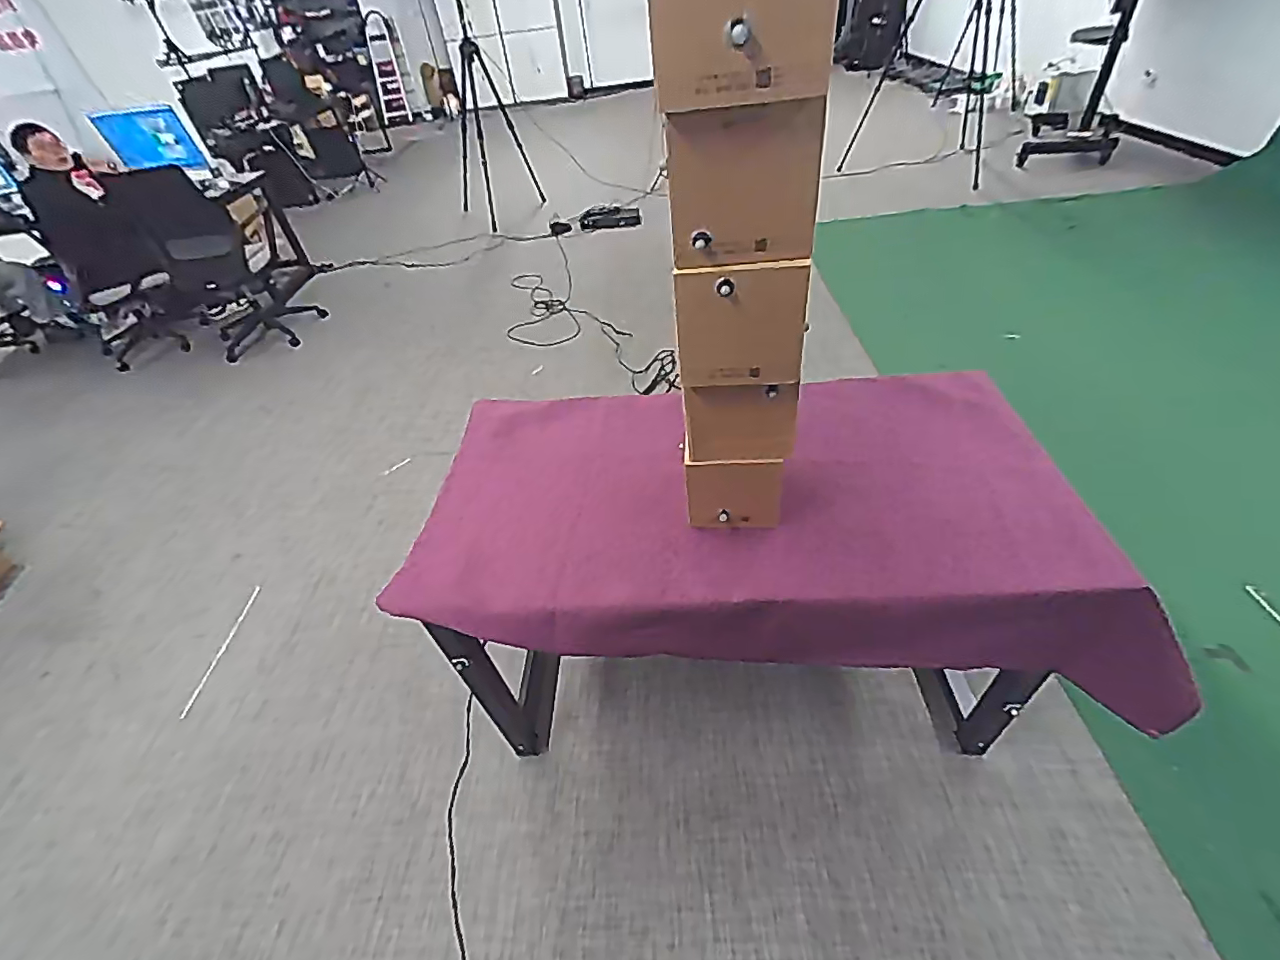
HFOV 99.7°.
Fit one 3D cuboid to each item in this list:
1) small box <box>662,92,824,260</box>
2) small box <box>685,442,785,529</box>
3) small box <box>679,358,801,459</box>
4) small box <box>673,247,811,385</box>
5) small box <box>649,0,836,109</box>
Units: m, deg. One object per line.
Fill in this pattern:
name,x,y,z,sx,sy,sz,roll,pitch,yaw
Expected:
small box,0.118,-0.378,0.655,0.168,0.176,0.179,-3,43,7
small box,0.173,-0.030,0.995,0.168,0.176,0.179,-1,44,9
small box,0.160,-0.148,0.886,0.179,0.176,0.168,-2,44,8
small box,0.140,-0.249,0.757,0.168,0.176,0.179,0,43,10
small box,0.099,-0.478,0.524,0.168,0.176,0.179,1,45,11
